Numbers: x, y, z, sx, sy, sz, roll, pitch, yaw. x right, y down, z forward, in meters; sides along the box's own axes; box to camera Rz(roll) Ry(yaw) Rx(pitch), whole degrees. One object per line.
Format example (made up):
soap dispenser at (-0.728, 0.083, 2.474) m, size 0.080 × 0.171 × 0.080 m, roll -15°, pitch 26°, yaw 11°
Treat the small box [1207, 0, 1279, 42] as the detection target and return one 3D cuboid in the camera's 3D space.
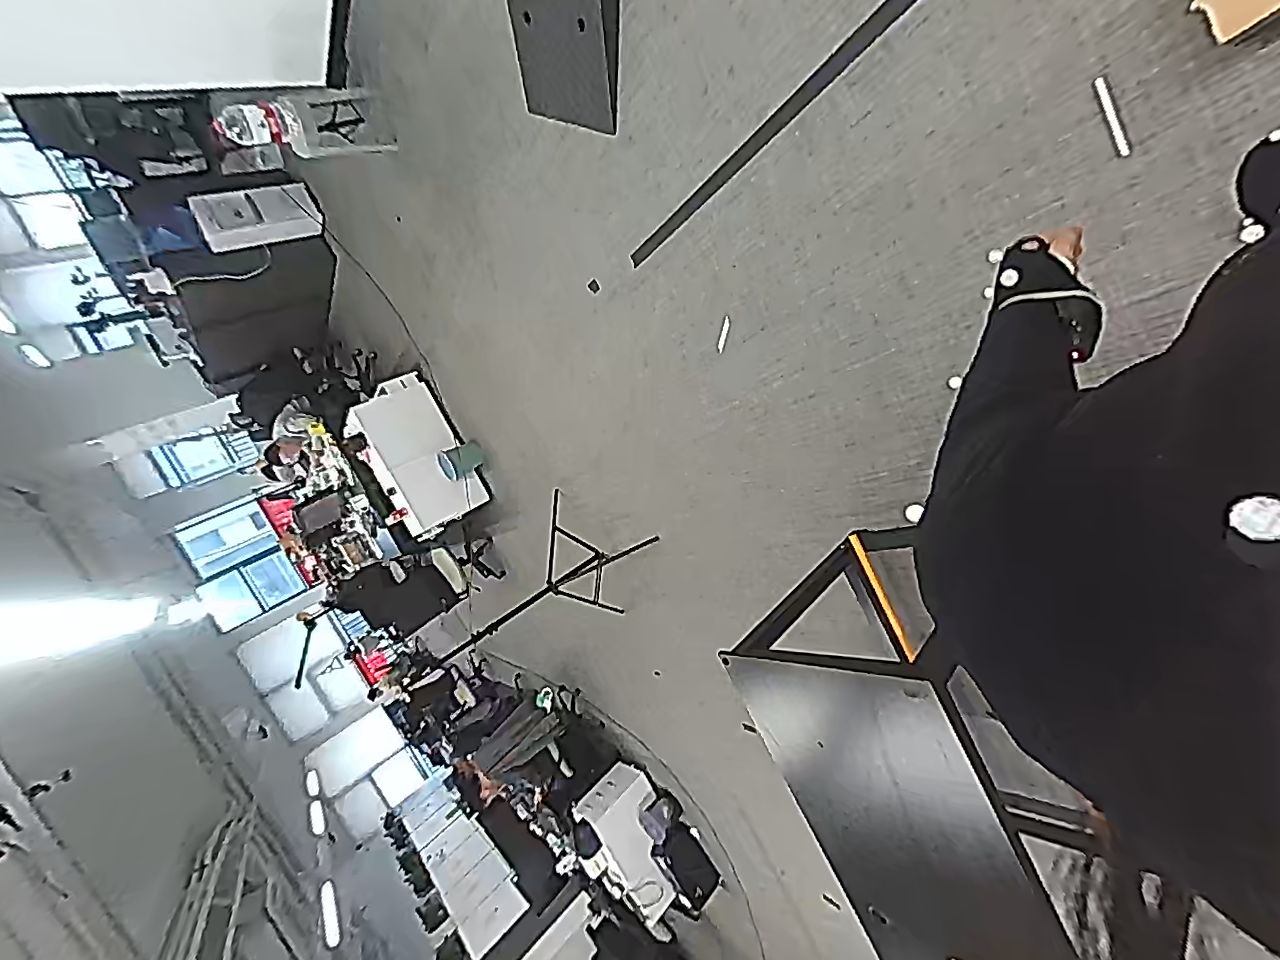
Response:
small box at (0.923, -0.768, 0.761) m, size 0.179 × 0.176 × 0.168 m, roll -23°, pitch 98°, yaw 57°
